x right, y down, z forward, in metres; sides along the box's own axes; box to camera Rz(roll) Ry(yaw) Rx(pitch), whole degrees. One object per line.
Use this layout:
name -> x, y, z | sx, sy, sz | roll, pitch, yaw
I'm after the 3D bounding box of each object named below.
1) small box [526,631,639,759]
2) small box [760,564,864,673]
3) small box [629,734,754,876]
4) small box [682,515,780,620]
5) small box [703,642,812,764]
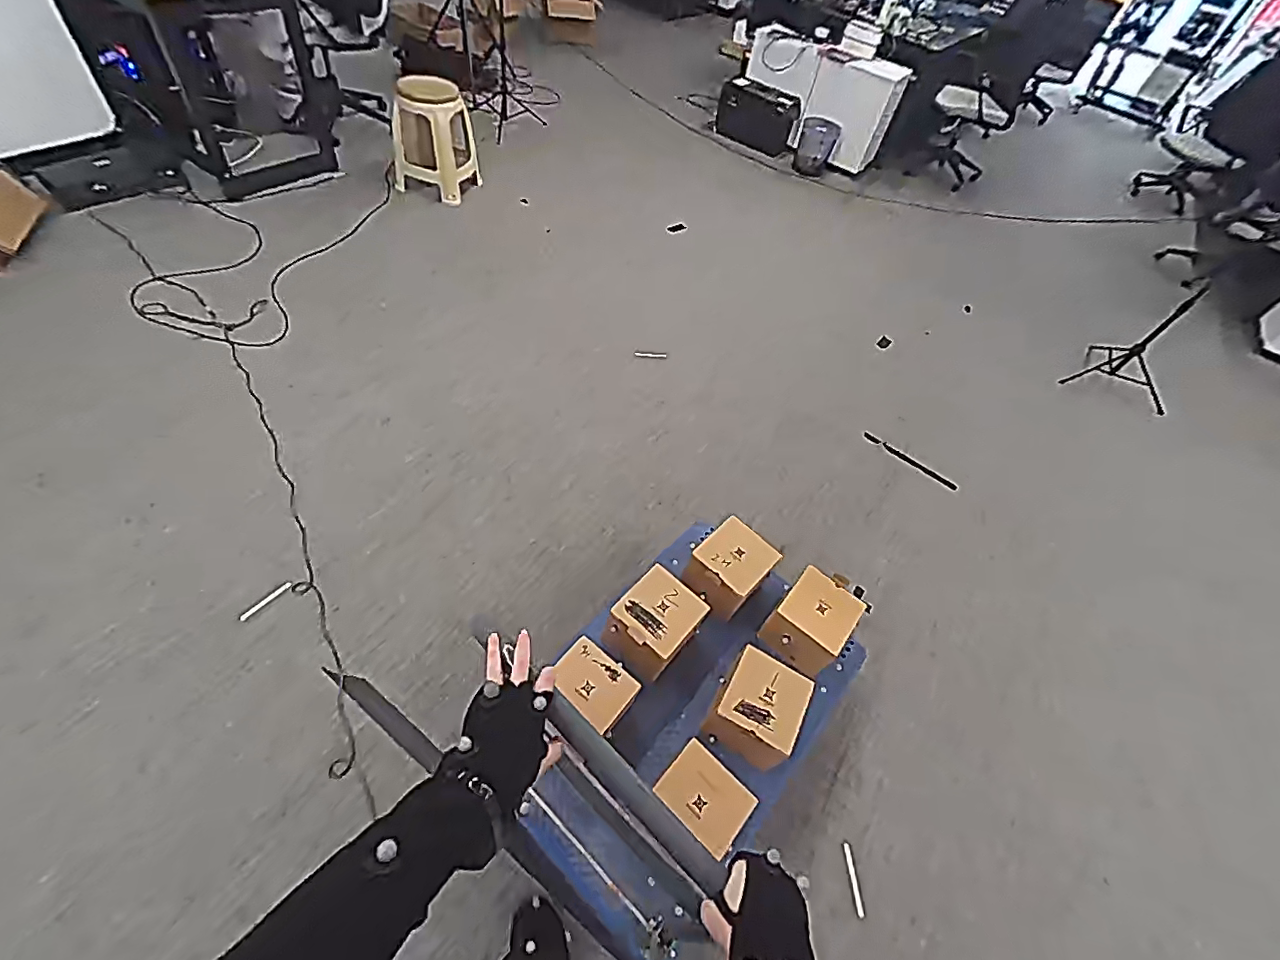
small box -> -0.127, 0.469, 1.168 | 0.168, 0.176, 0.179 | 38, 56, 15
small box -> 0.425, 0.355, 1.368 | 0.168, 0.176, 0.179 | 37, 55, 17
small box -> 0.093, 0.650, 1.078 | 0.168, 0.176, 0.179 | 41, 56, 18
small box -> 0.231, 0.231, 1.422 | 0.168, 0.176, 0.179 | 42, 57, 20
small box -> 0.256, 0.507, 1.218 | 0.168, 0.176, 0.179 | 29, 52, 12
